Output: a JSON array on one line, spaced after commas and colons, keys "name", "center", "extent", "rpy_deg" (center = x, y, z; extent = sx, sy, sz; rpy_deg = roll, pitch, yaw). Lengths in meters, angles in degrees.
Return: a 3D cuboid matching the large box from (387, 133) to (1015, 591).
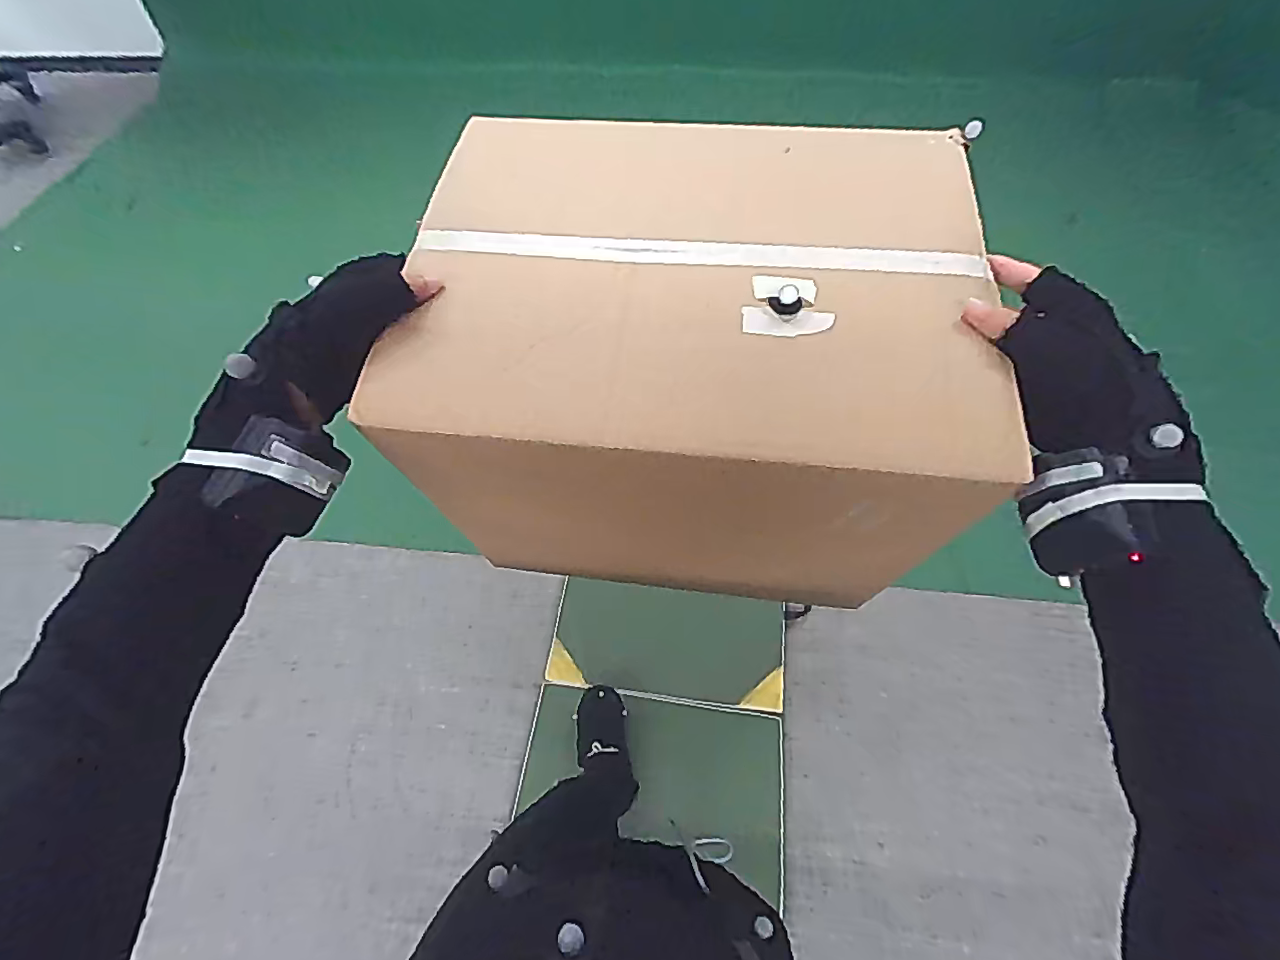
[{"name": "large box", "center": [0.048, -0.093, 0.535], "extent": [0.408, 0.320, 0.320], "rpy_deg": [5, 65, 5]}]
